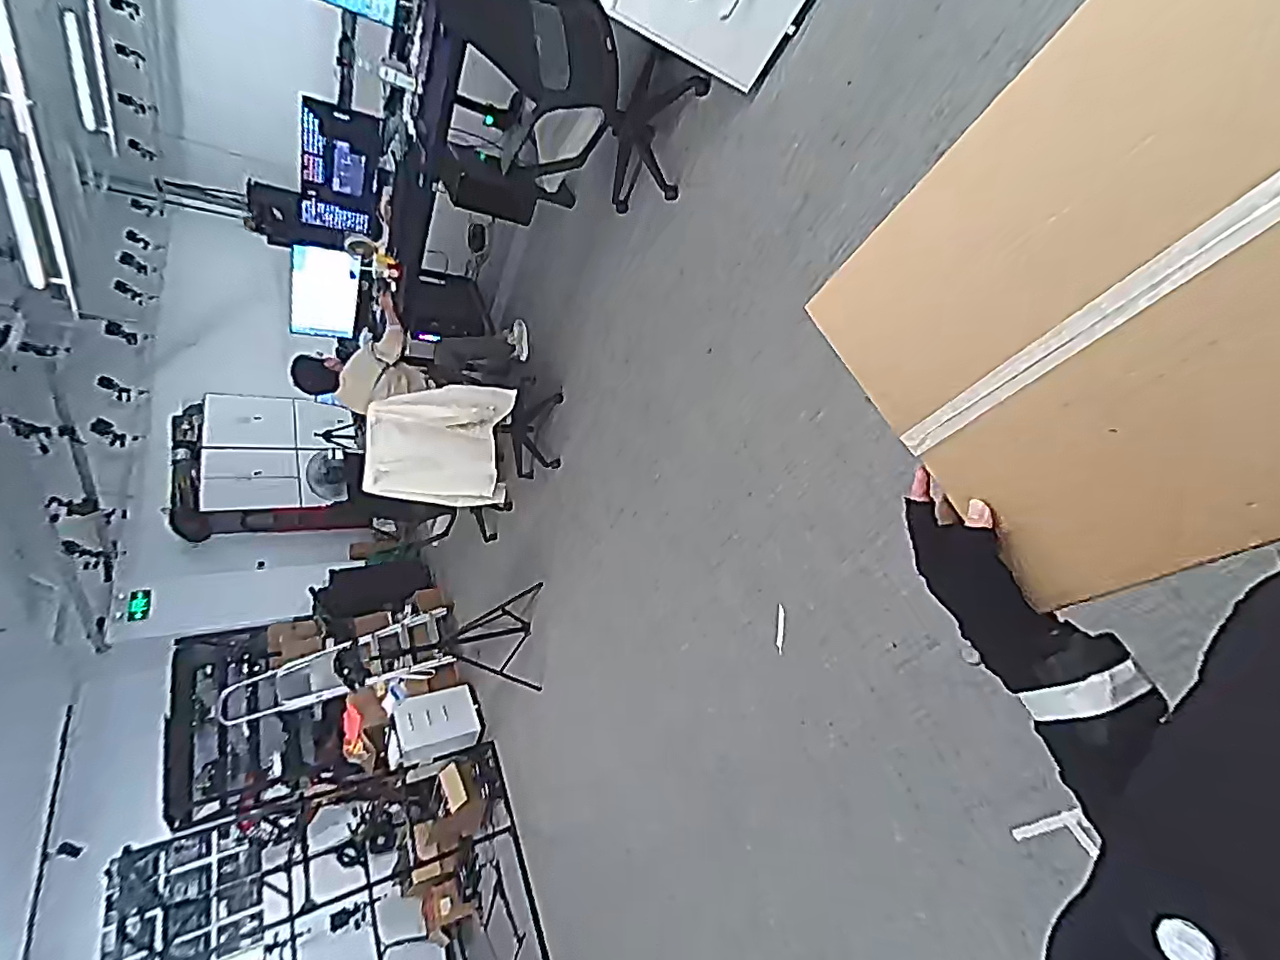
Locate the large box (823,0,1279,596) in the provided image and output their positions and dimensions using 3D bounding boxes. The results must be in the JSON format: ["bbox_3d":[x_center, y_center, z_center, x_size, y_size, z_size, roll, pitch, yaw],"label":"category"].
[{"bbox_3d":[0.437,-0.167,0.405,0.320,0.320,0.408,60,141,16],"label":"large box"}]
